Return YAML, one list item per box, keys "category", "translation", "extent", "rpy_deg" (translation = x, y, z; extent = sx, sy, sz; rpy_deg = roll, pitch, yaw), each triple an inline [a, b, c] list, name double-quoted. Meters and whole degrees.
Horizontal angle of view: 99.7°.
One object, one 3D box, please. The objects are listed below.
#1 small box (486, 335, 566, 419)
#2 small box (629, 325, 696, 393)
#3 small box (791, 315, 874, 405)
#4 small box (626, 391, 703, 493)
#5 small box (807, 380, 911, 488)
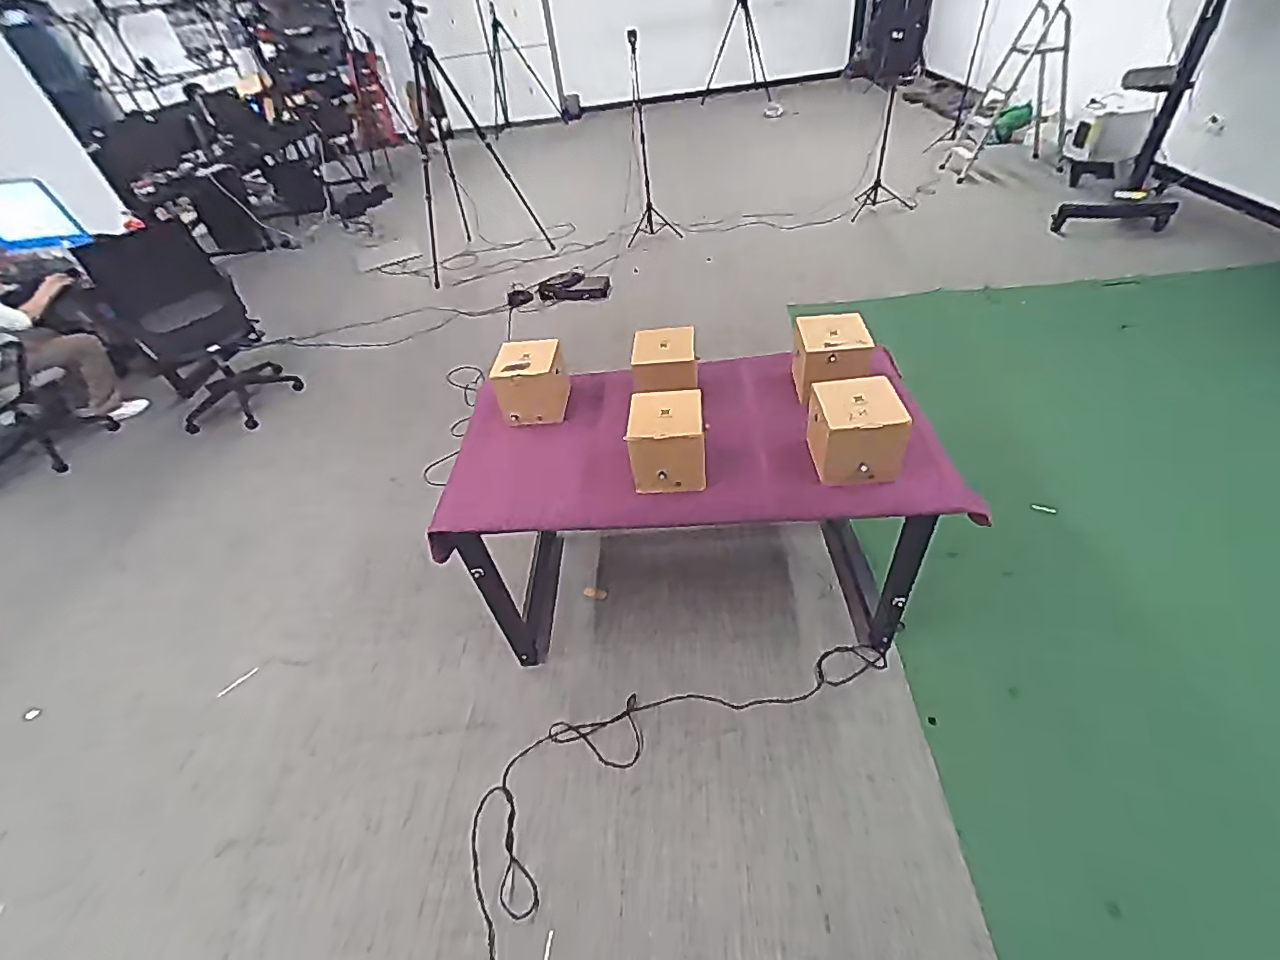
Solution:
- category: "small box"
  translation: [-0.308, -0.282, 1.511]
  extent: [0.168, 0.176, 0.179]
  rpy_deg: [-2, 45, 6]
- category: "small box"
  translation: [0.068, -0.305, 1.486]
  extent: [0.168, 0.176, 0.179]
  rpy_deg: [-1, 46, 8]
- category: "small box"
  translation: [0.501, -0.316, 1.432]
  extent: [0.168, 0.176, 0.179]
  rpy_deg: [-3, 45, 7]
- category: "small box"
  translation: [0.062, -0.089, 1.266]
  extent: [0.168, 0.176, 0.179]
  rpy_deg: [-2, 44, 6]
- category: "small box"
  translation: [0.479, -0.103, 1.215]
  extent: [0.168, 0.176, 0.179]
  rpy_deg: [-5, 44, 6]
